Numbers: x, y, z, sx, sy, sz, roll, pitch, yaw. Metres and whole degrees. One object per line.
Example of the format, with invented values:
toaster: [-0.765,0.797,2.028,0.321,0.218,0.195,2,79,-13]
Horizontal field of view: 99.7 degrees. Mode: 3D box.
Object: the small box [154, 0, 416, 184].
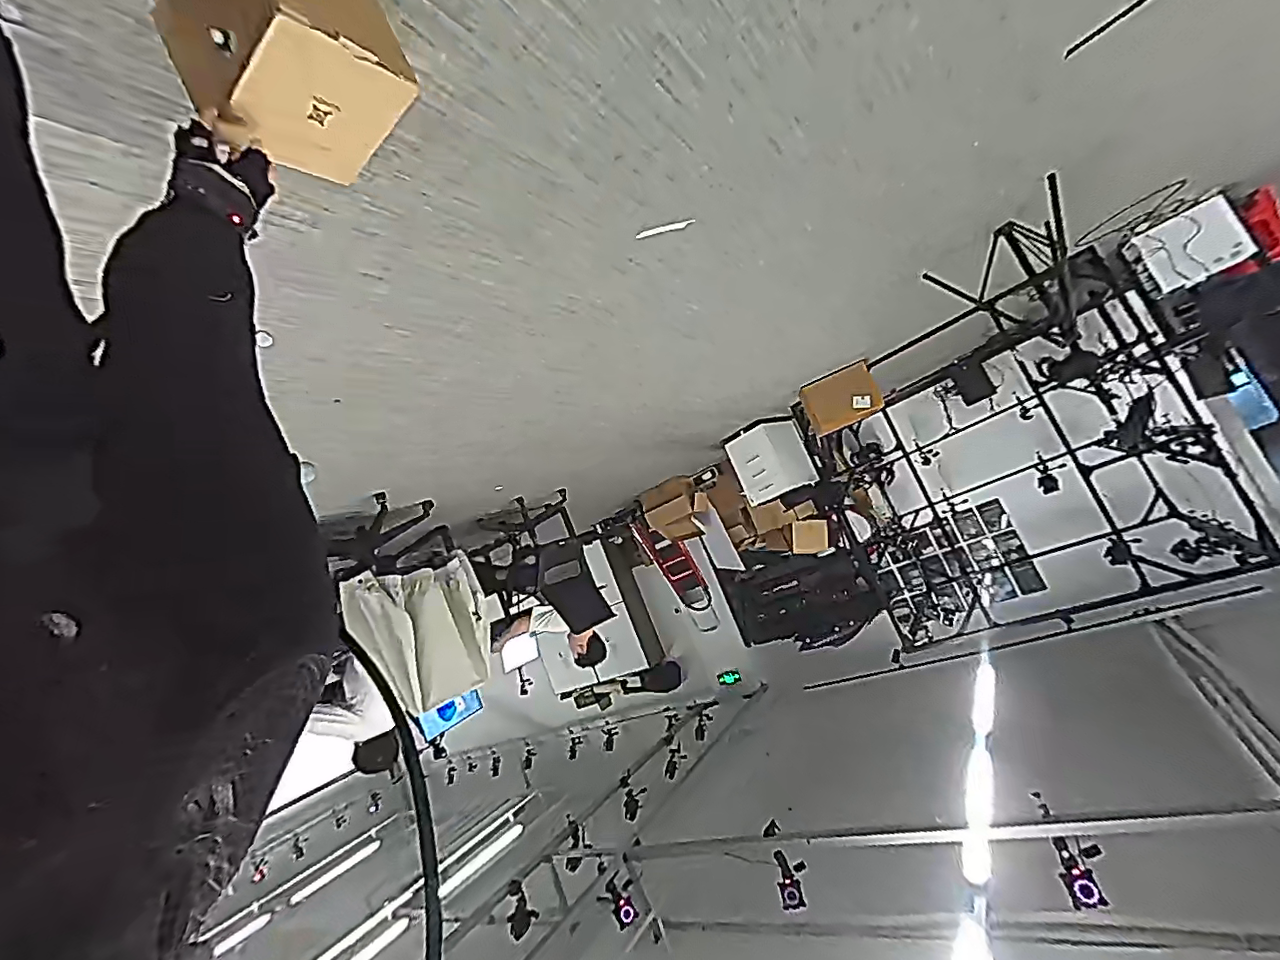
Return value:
small box: [-0.399,-0.489,0.611,0.179,0.176,0.168,-28,174,28]
